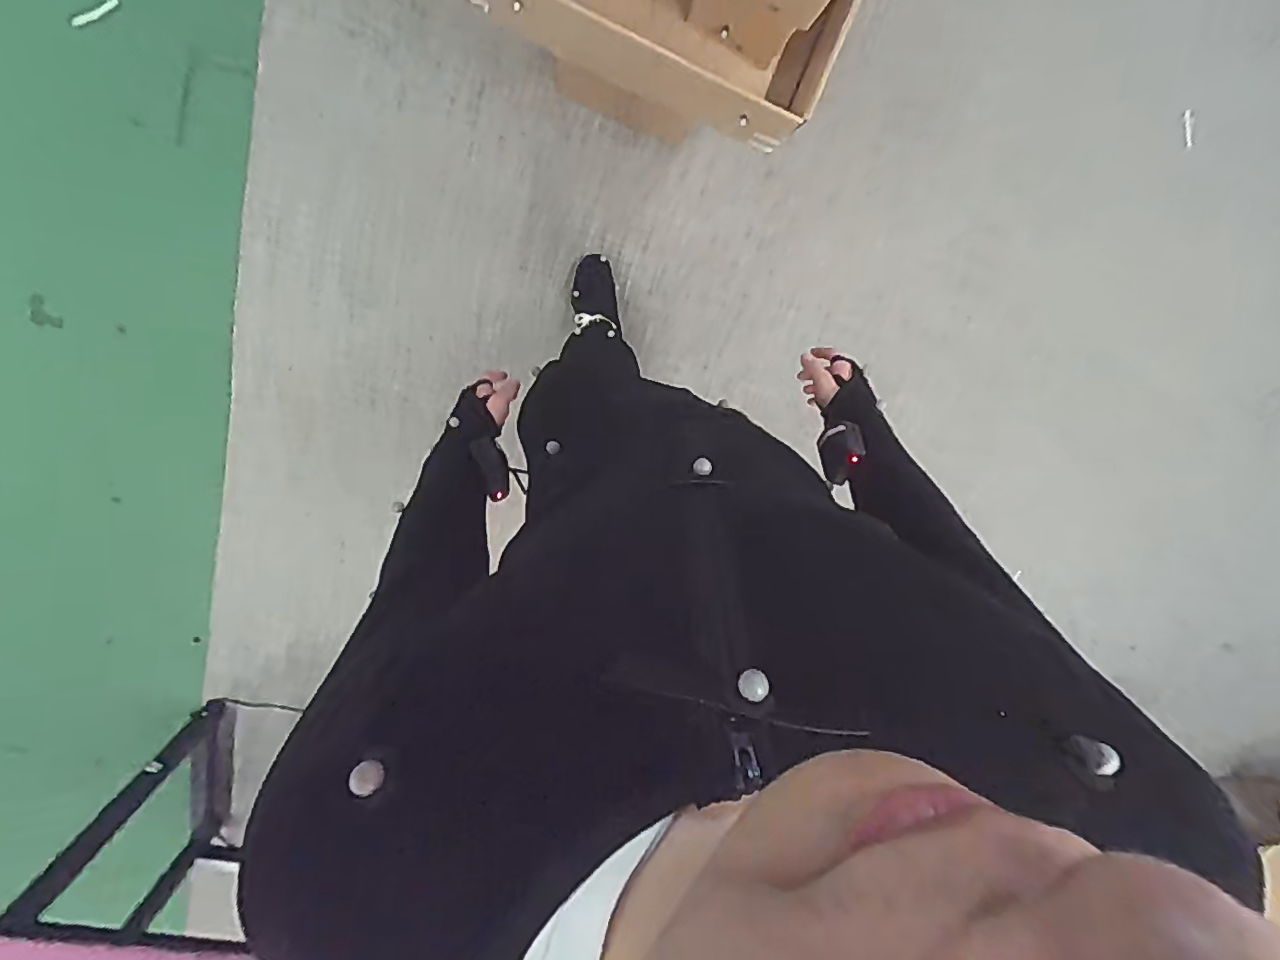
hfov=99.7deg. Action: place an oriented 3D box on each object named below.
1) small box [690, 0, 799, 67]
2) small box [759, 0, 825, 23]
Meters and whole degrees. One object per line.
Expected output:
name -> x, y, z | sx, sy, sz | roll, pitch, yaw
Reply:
small box -> 0.194, -0.822, 0.866 | 0.168, 0.176, 0.179 | 21, 106, -11
small box -> 0.212, -0.763, 0.713 | 0.168, 0.176, 0.179 | 16, 106, -10
